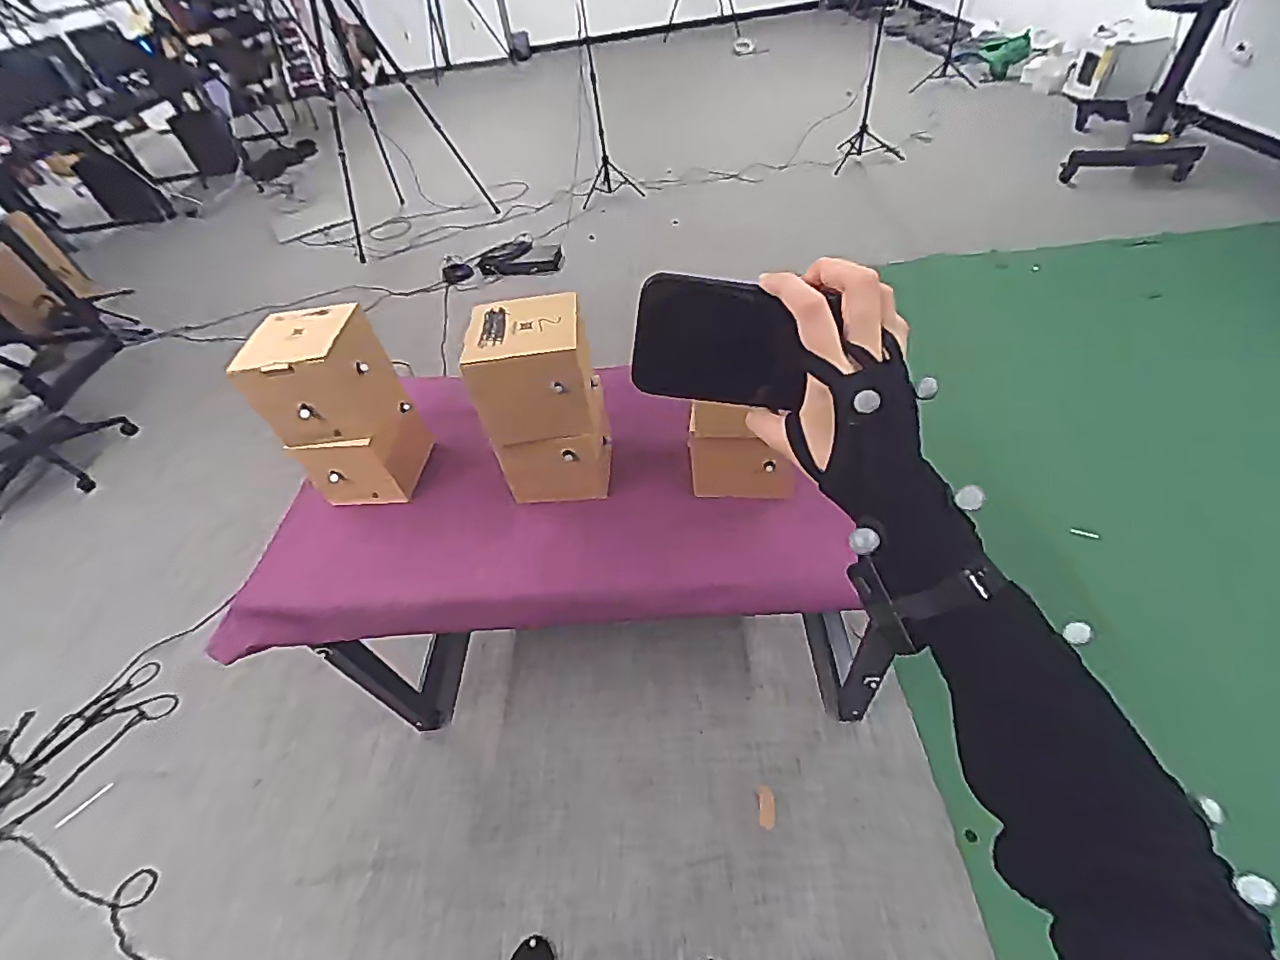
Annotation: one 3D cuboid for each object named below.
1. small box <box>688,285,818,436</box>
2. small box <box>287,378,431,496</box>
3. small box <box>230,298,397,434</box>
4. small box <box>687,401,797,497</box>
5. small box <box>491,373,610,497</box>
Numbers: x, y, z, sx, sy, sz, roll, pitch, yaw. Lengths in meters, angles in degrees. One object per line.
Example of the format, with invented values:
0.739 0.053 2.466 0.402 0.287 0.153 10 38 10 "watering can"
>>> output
0.172 -0.182 0.839 0.179 0.176 0.168 2 48 10 "small box"
-0.542 -0.080 1.076 0.168 0.176 0.179 -2 48 7 "small box"
-0.560 -0.195 0.960 0.168 0.176 0.179 -5 48 3 "small box"
0.183 -0.084 0.971 0.179 0.176 0.168 2 48 11 "small box"
-0.155 -0.082 1.017 0.179 0.176 0.168 -2 48 6 "small box"
